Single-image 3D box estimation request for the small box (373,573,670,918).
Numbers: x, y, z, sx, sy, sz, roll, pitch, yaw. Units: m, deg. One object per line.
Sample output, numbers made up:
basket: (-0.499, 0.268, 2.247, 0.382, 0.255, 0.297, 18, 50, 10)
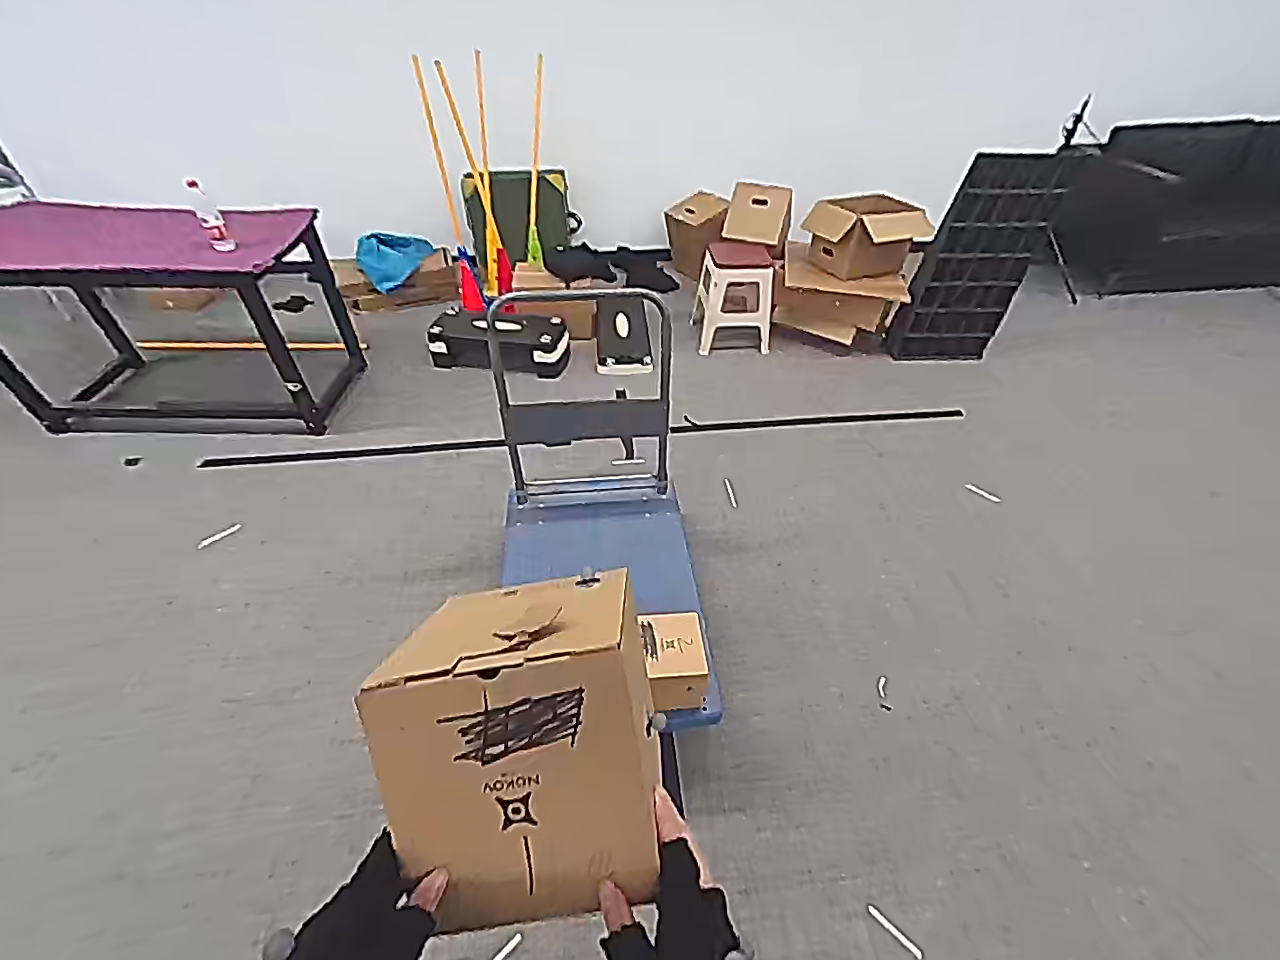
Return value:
small box: (-0.073, 0.181, 0.422, 0.168, 0.179, 0.176, -9, 7, 2)
